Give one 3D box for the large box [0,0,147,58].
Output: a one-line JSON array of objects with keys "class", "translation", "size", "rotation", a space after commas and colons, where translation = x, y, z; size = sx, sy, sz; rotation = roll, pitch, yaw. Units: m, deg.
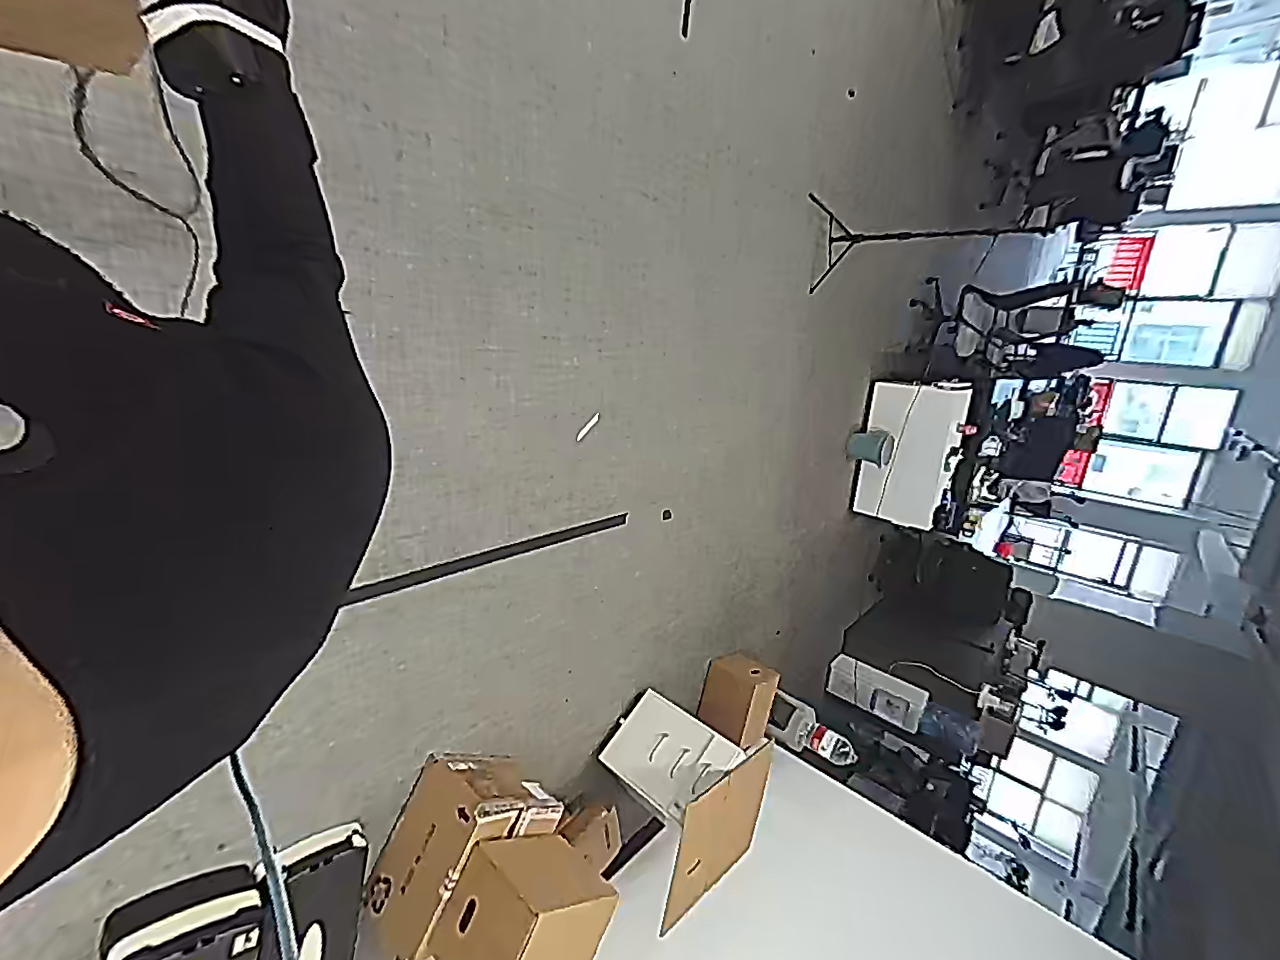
[{"class": "large box", "translation": [-0.555, -0.485, 0.271], "size": [0.408, 0.320, 0.320], "rotation": [-19, 120, -45]}]
